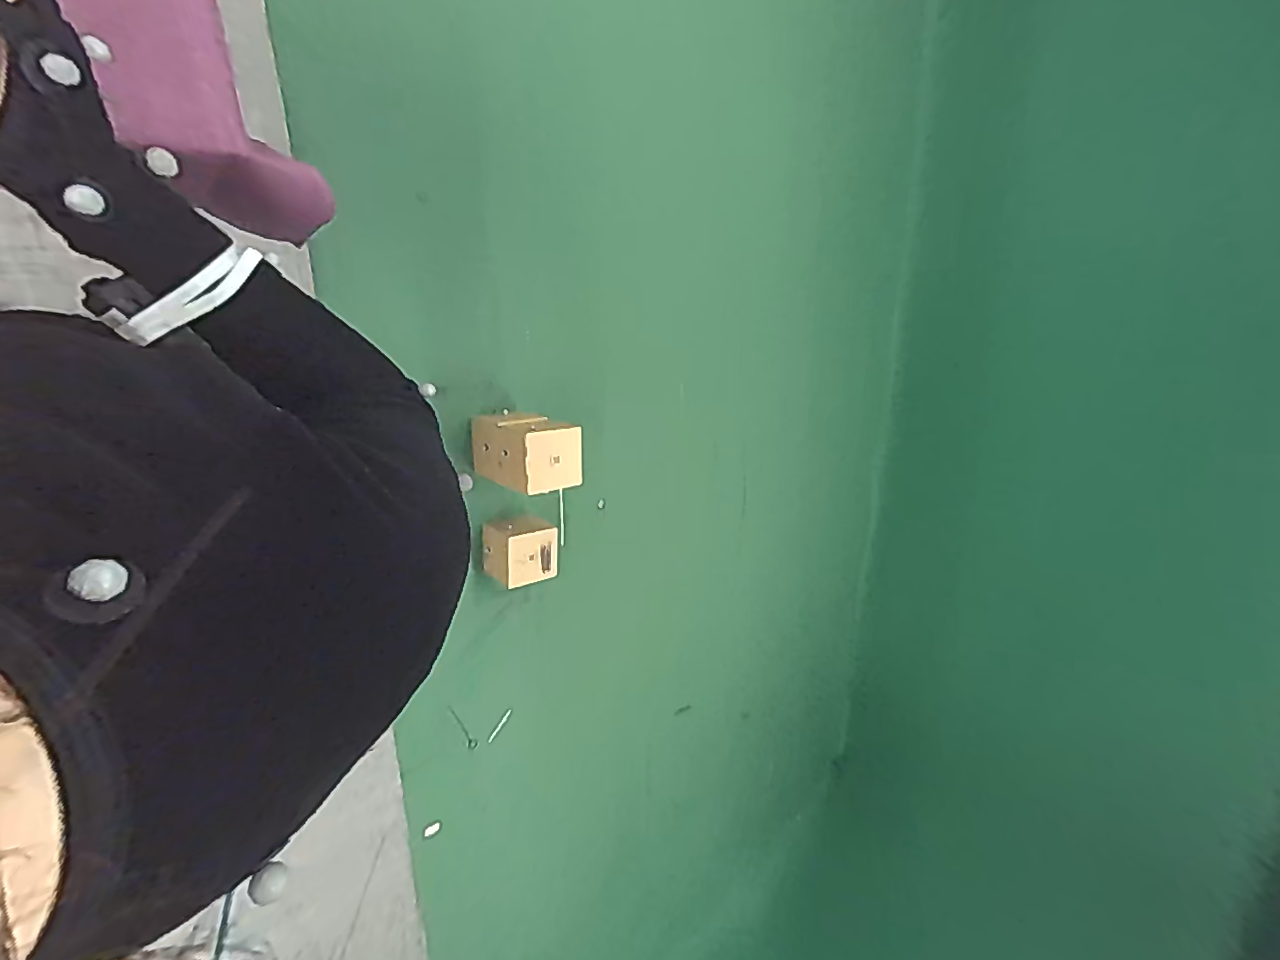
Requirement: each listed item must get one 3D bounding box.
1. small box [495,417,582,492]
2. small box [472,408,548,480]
[{"bbox_3d":[-0.280,-0.078,1.496,0.179,0.176,0.168,-13,110,-40],"label":"small box"},{"bbox_3d":[-0.386,-0.113,1.614,0.168,0.176,0.179,-13,110,-40],"label":"small box"}]
